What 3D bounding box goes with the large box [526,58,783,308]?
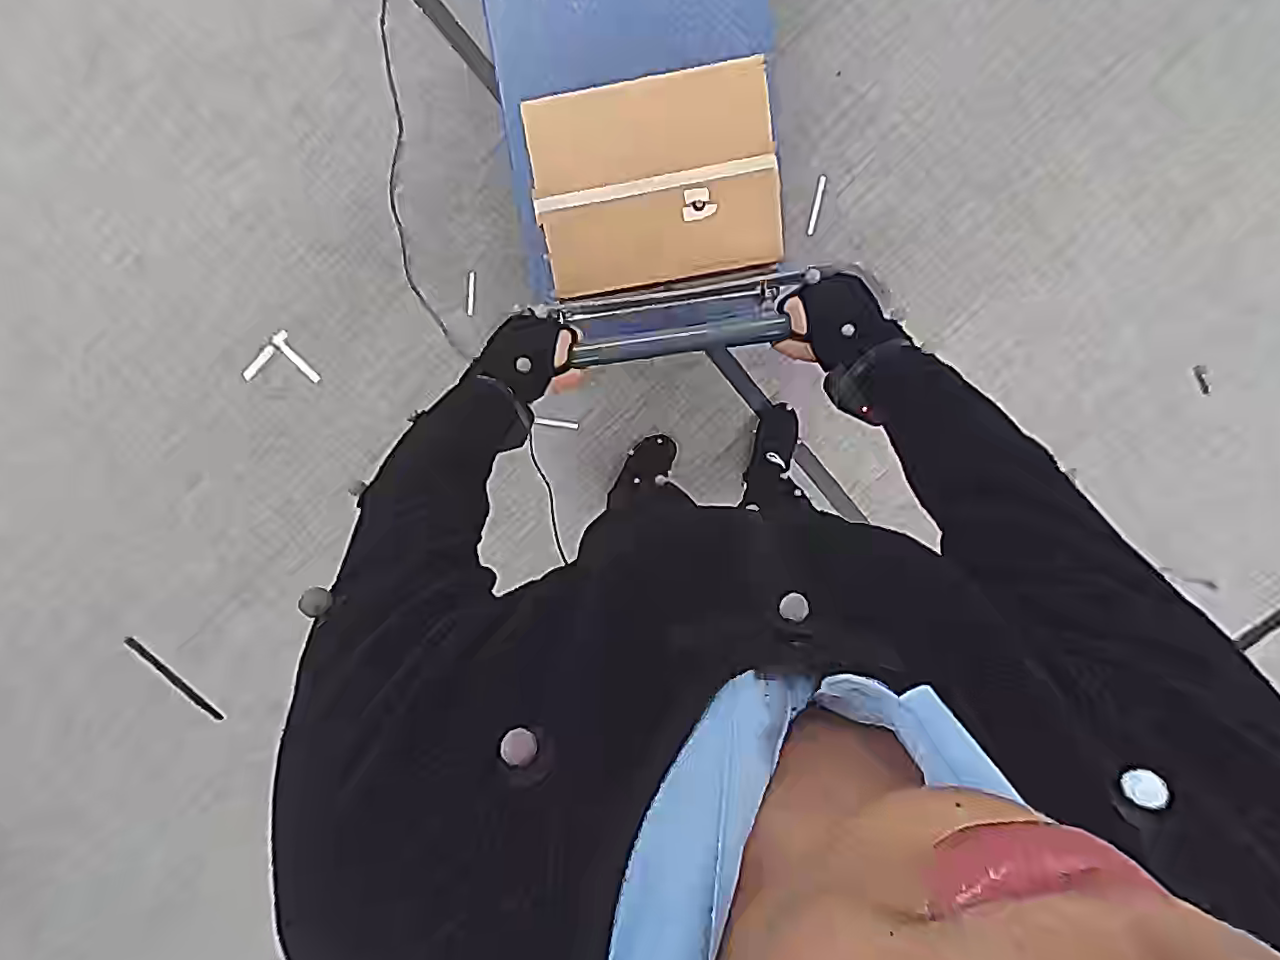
[{"bbox_3d":[0.030,-0.542,1.069,0.408,0.320,0.320,-10,105,3],"label":"large box"}]
